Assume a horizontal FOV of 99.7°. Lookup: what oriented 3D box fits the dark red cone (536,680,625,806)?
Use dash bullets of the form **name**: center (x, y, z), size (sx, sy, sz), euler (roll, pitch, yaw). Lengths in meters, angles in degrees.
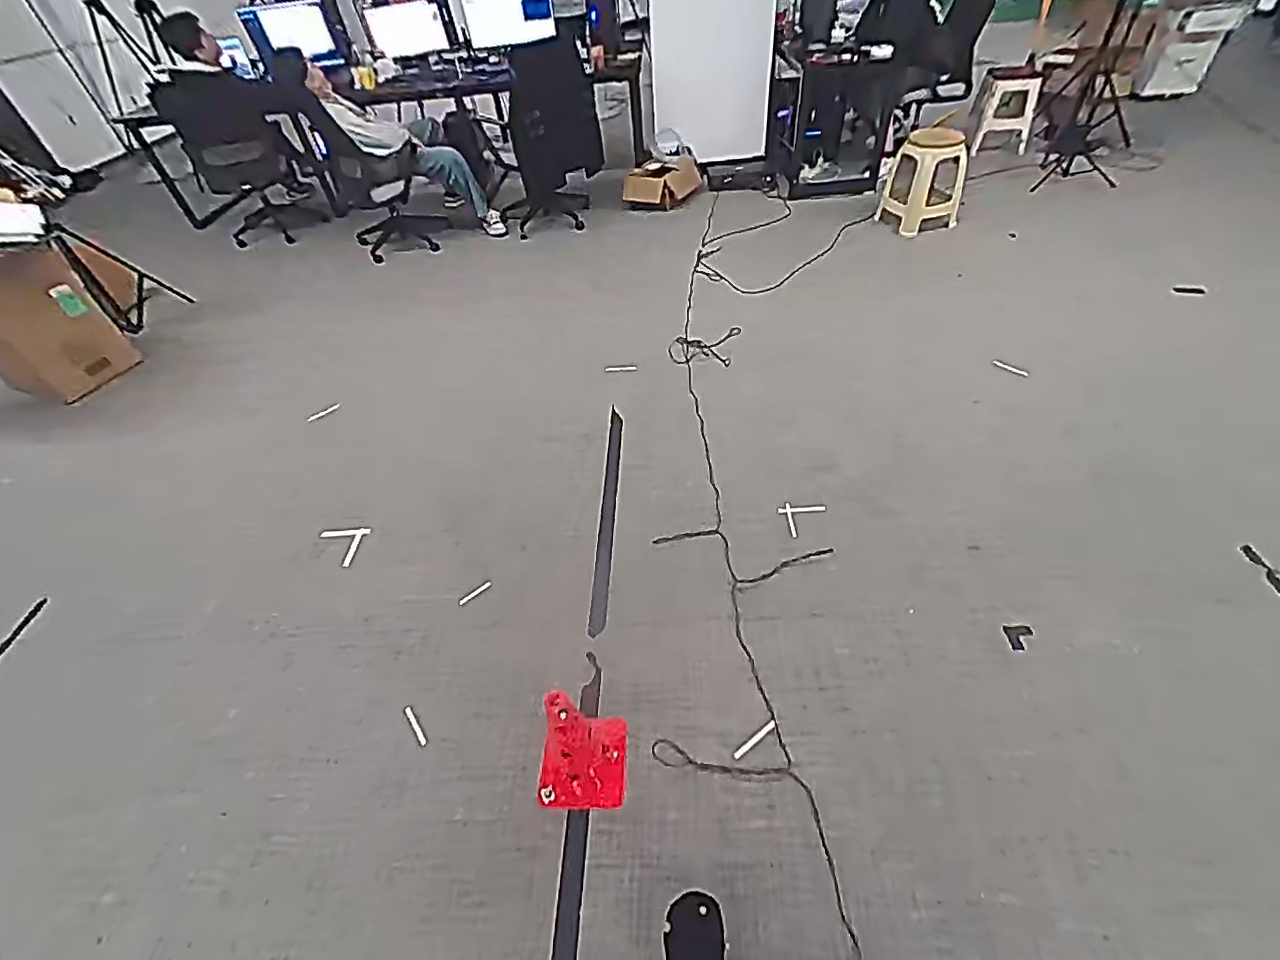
- **dark red cone**: center (-0.147, 0.534, 1.148), size (0.201, 0.394, 0.202), euler (-2, 45, 3)
